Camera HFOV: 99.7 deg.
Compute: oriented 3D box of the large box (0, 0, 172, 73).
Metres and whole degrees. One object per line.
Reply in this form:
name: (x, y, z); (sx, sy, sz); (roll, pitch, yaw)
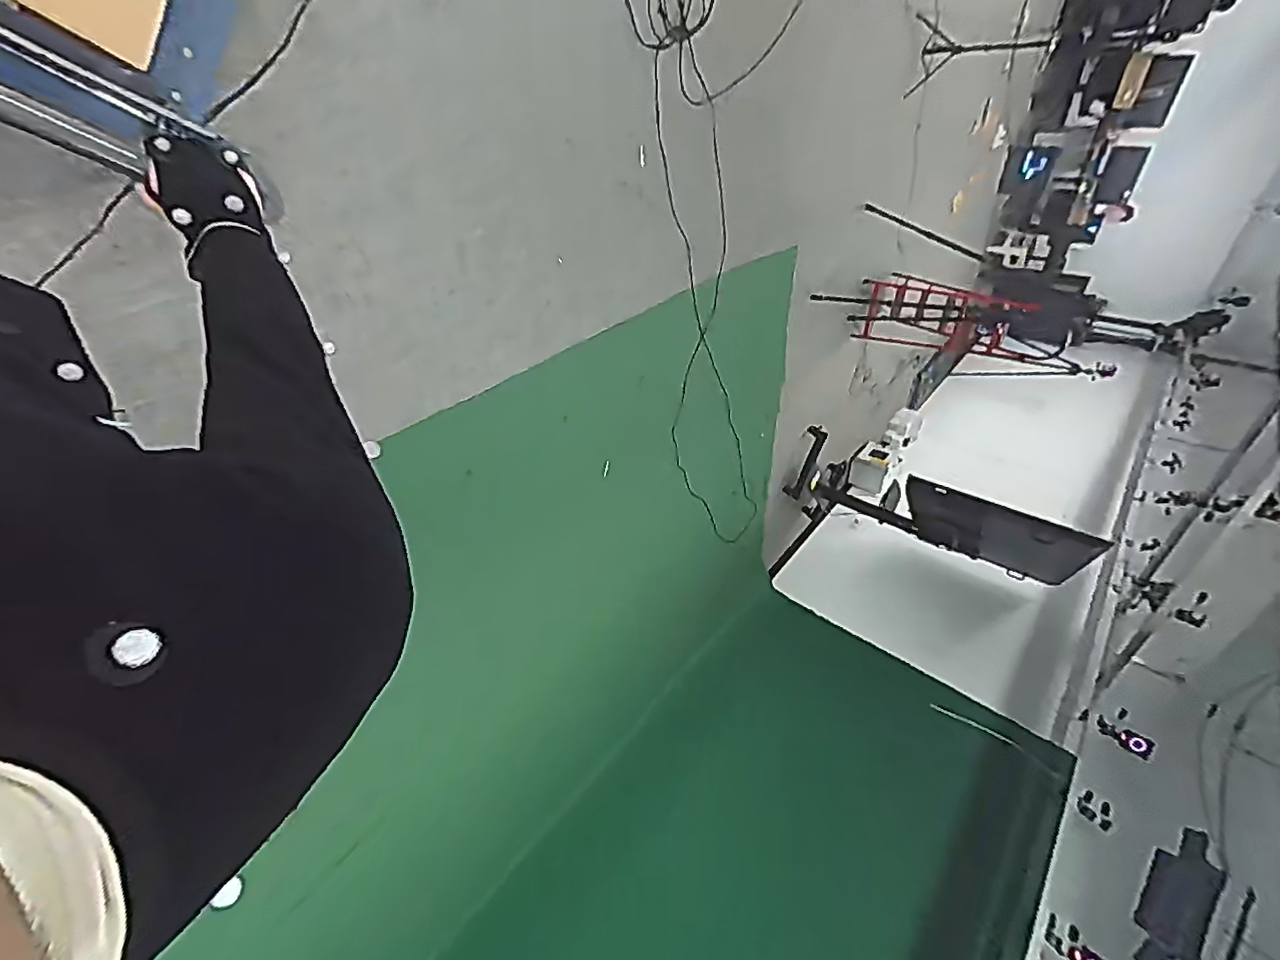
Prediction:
large box: (-0.815, -0.834, 0.699); (0.320, 0.320, 0.408); (10, 107, -55)
